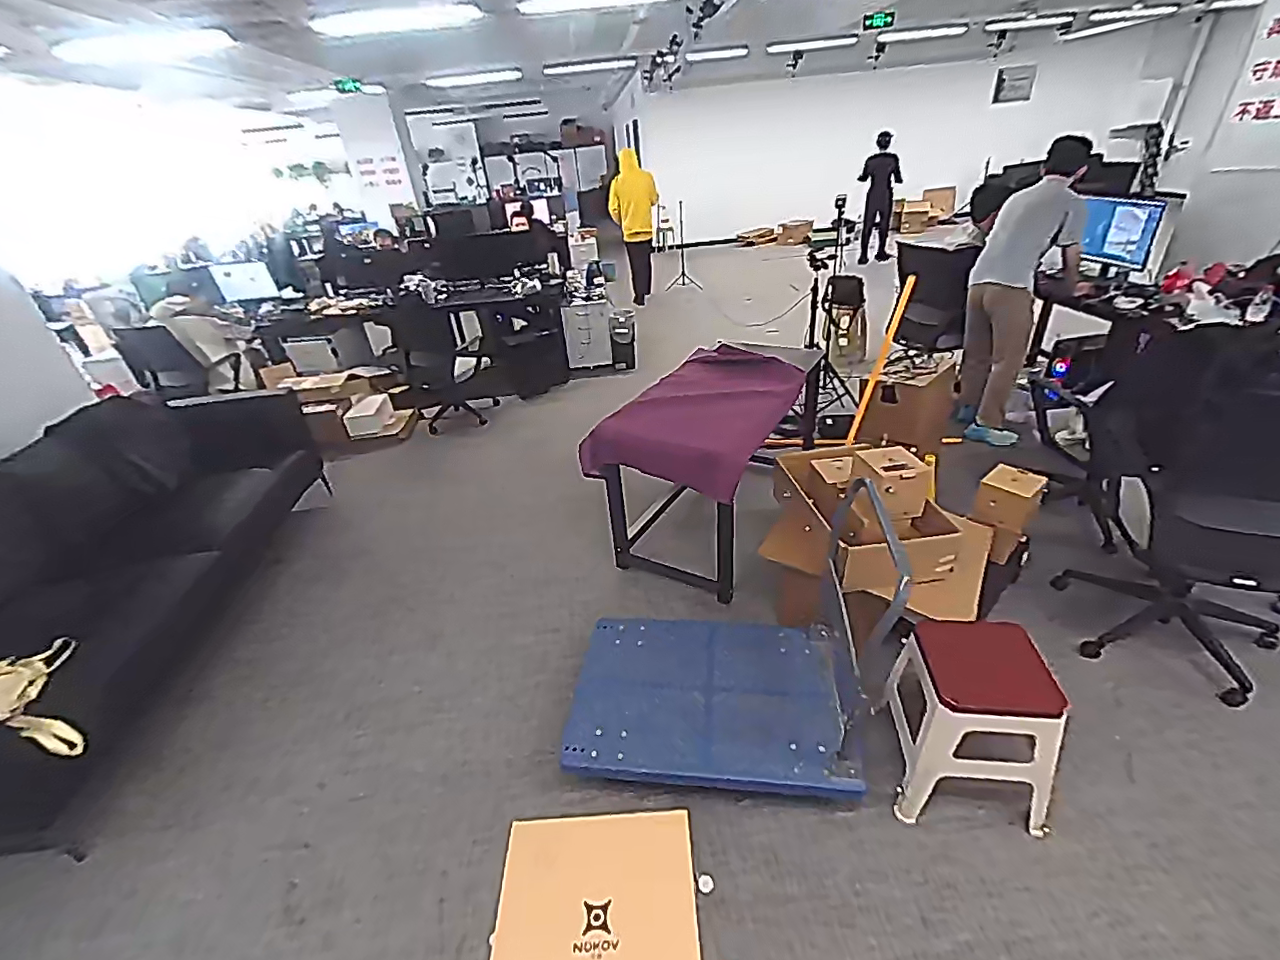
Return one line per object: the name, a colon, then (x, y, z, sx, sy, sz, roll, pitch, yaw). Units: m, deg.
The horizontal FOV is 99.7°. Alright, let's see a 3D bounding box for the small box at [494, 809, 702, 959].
small box: (-0.029, 0.429, 0.486, 0.168, 0.176, 0.179, -4, 34, 2)
